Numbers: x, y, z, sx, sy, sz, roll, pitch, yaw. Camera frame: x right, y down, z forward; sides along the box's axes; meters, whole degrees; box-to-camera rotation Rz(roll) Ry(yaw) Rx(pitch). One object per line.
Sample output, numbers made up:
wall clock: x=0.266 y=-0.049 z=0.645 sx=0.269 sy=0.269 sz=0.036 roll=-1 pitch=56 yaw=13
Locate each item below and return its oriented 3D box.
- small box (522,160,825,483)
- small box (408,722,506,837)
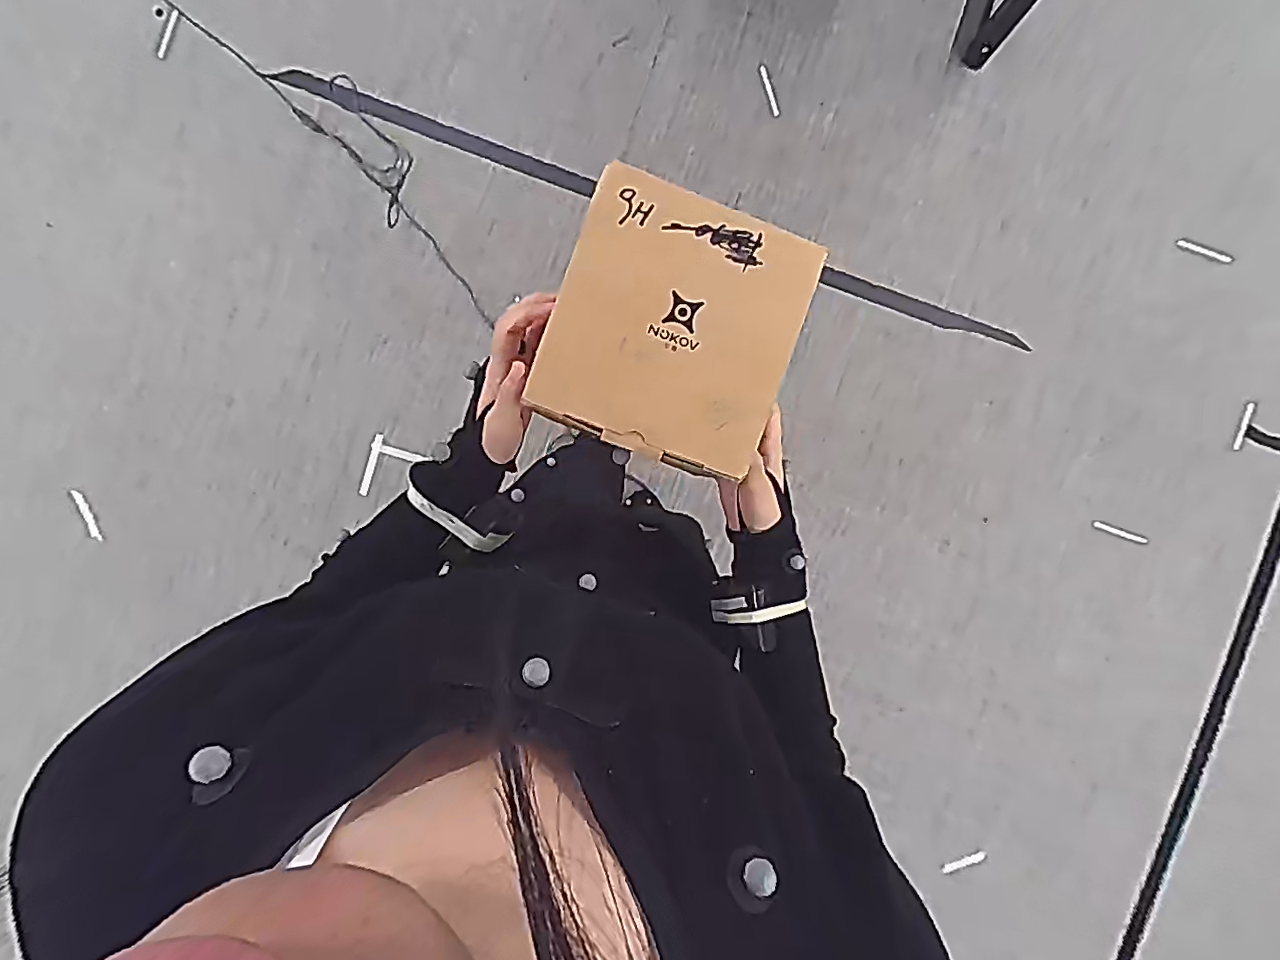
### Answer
small box: x=0.019 y=-0.110 z=0.448 sx=0.168 sy=0.176 sz=0.179 roll=20 pitch=92 yaw=-6
small box: x=-0.468 y=0.773 z=1.412 sx=0.168 sy=0.176 sz=0.179 roll=22 pitch=90 yaw=-2
